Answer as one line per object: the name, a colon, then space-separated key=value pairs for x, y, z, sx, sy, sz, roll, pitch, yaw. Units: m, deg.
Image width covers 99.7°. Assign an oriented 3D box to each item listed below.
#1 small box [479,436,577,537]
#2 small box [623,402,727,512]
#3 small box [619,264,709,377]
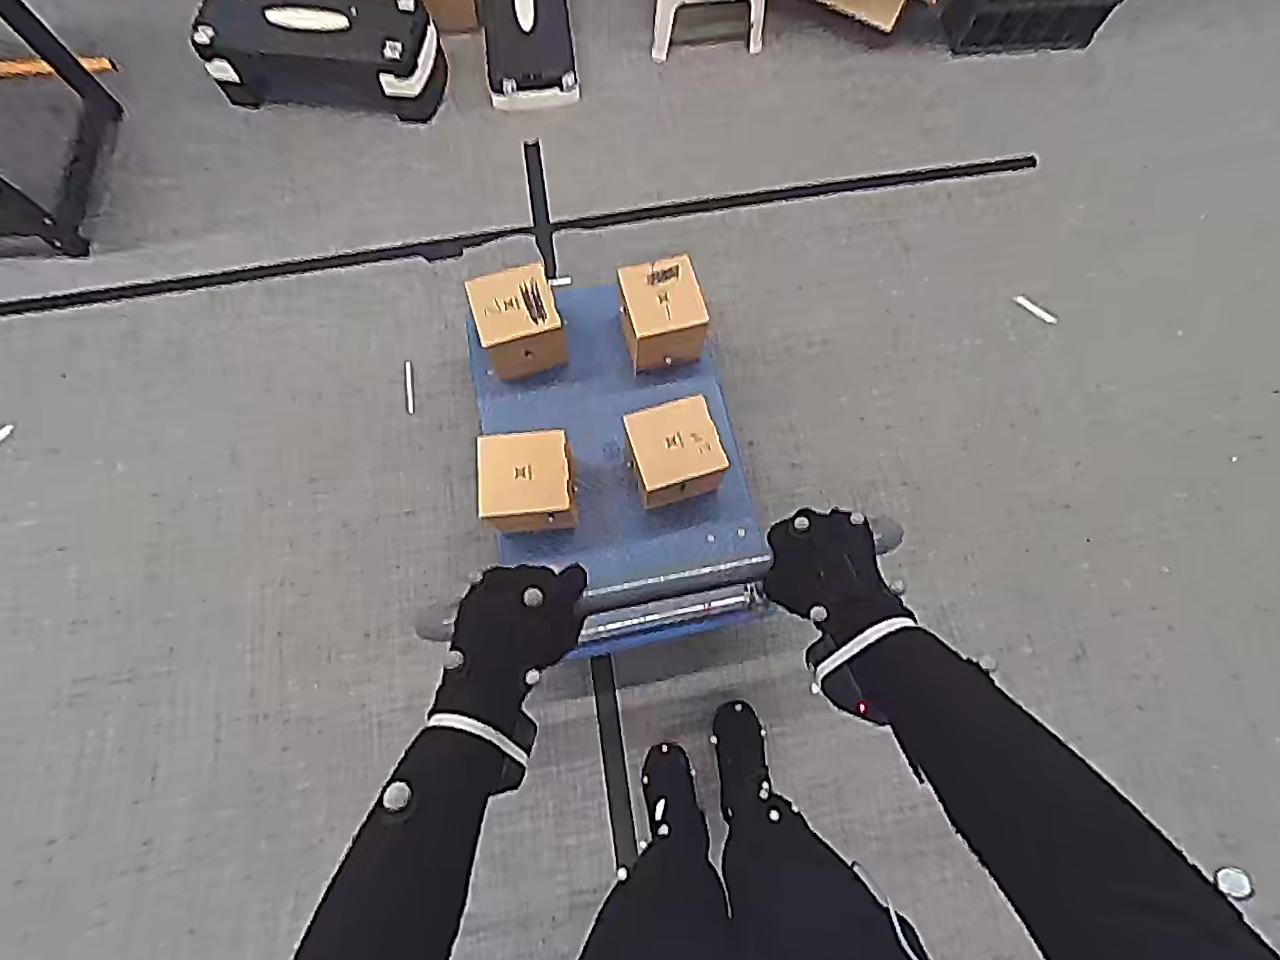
small box: x=-0.230 y=0.019 z=1.138 sx=0.179 sy=0.176 sz=0.168 roll=-5 pitch=73 yaw=-4
small box: x=0.070 y=-0.042 z=1.161 sx=0.179 sy=0.176 sz=0.168 roll=-16 pitch=75 yaw=-6
small box: x=0.048 y=-0.365 z=1.257 sx=0.168 sy=0.176 sz=0.179 roll=-14 pitch=75 yaw=-5
